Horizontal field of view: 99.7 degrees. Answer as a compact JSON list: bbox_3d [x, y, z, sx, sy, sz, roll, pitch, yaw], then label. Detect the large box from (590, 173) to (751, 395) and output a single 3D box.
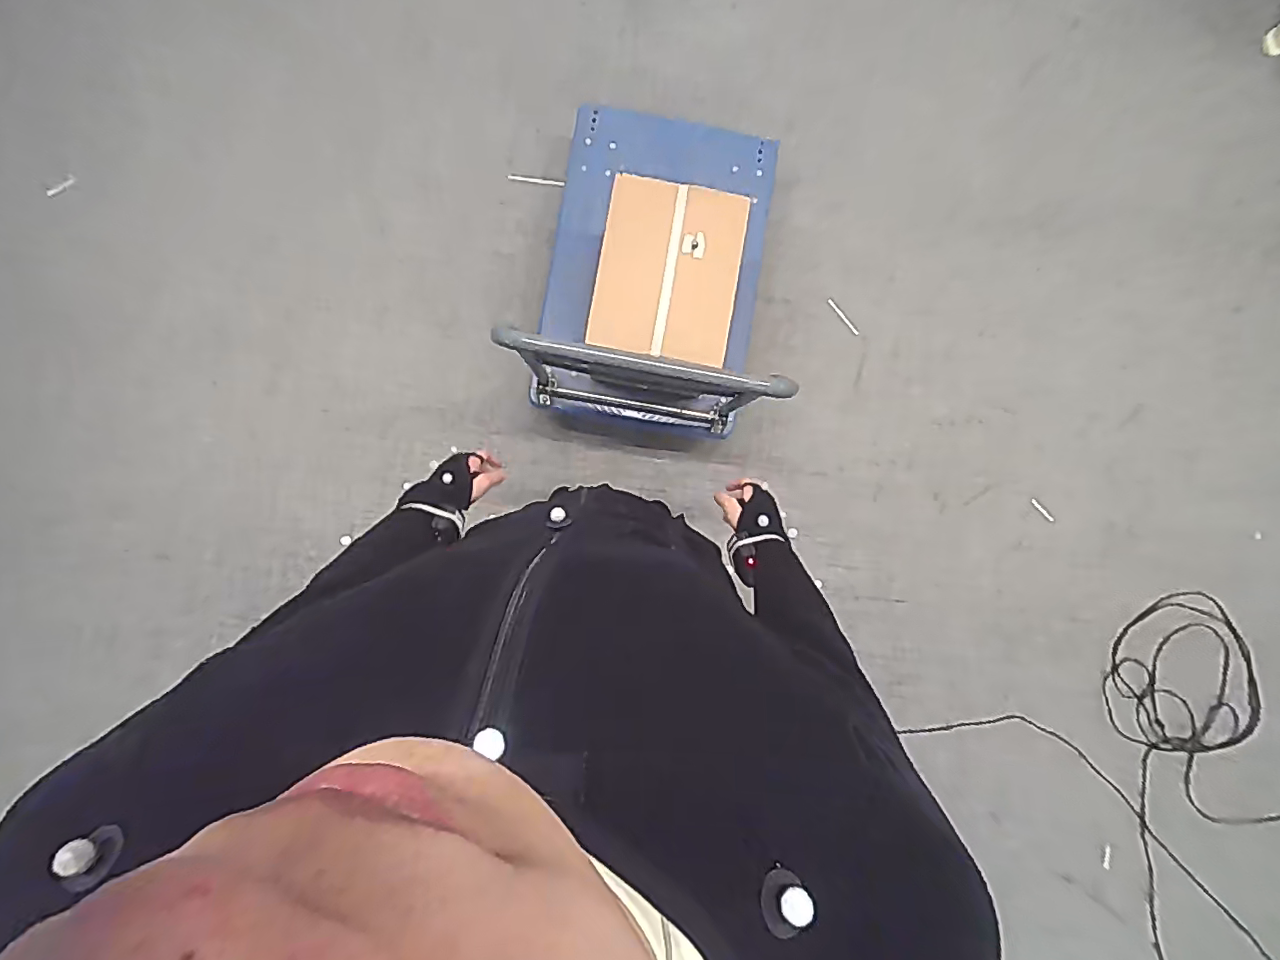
[{"bbox_3d":[0.064,-0.454,1.340,0.320,0.320,0.408,10,86,-3],"label":"large box"}]
